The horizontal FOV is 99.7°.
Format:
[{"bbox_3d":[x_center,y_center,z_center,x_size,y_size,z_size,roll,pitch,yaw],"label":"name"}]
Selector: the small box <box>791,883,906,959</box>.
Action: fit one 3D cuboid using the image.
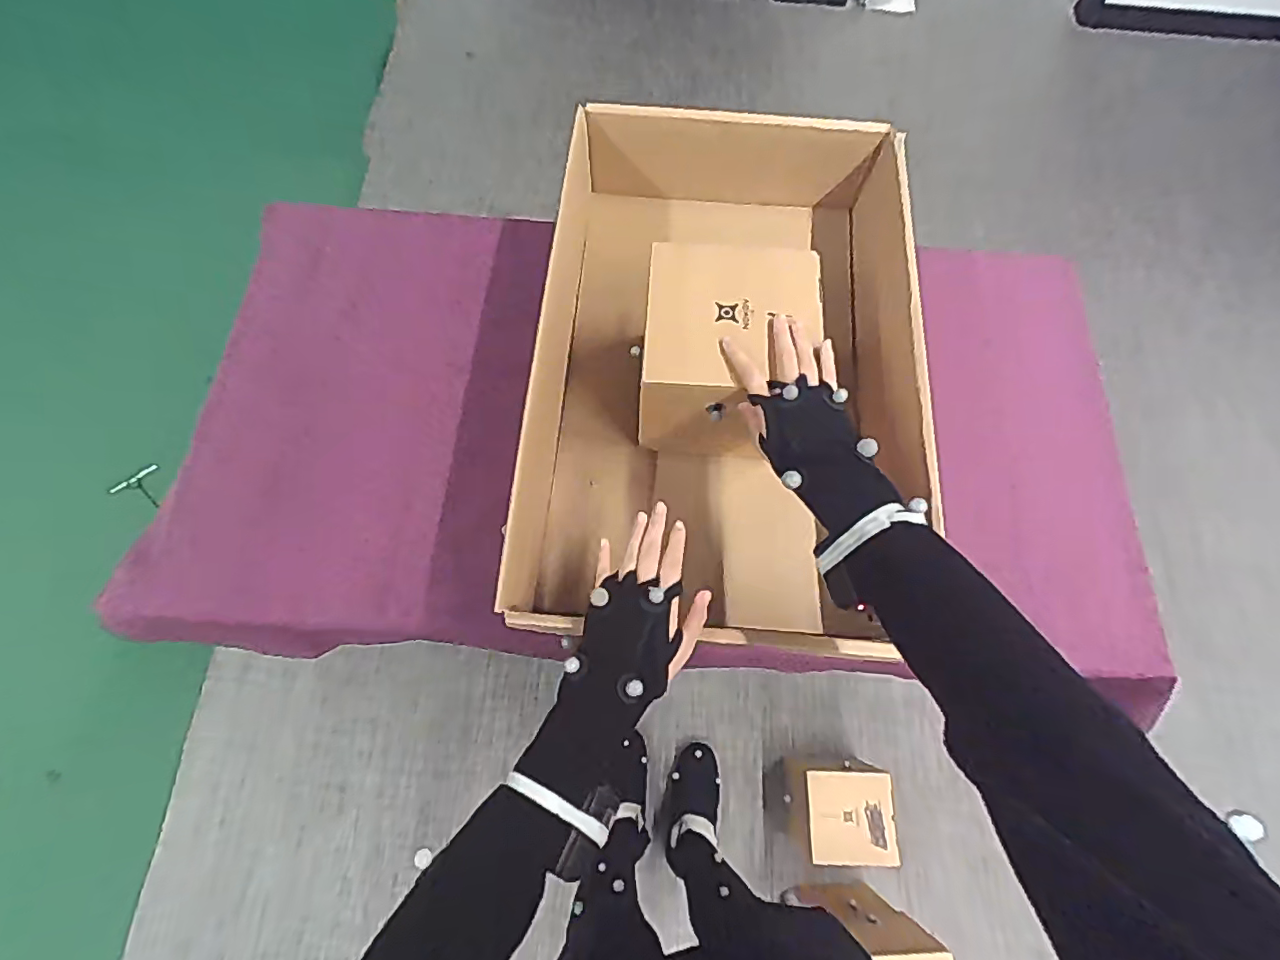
[{"bbox_3d":[0.410,0.934,1.079,0.179,0.176,0.168,-1,71,-2],"label":"small box"}]
